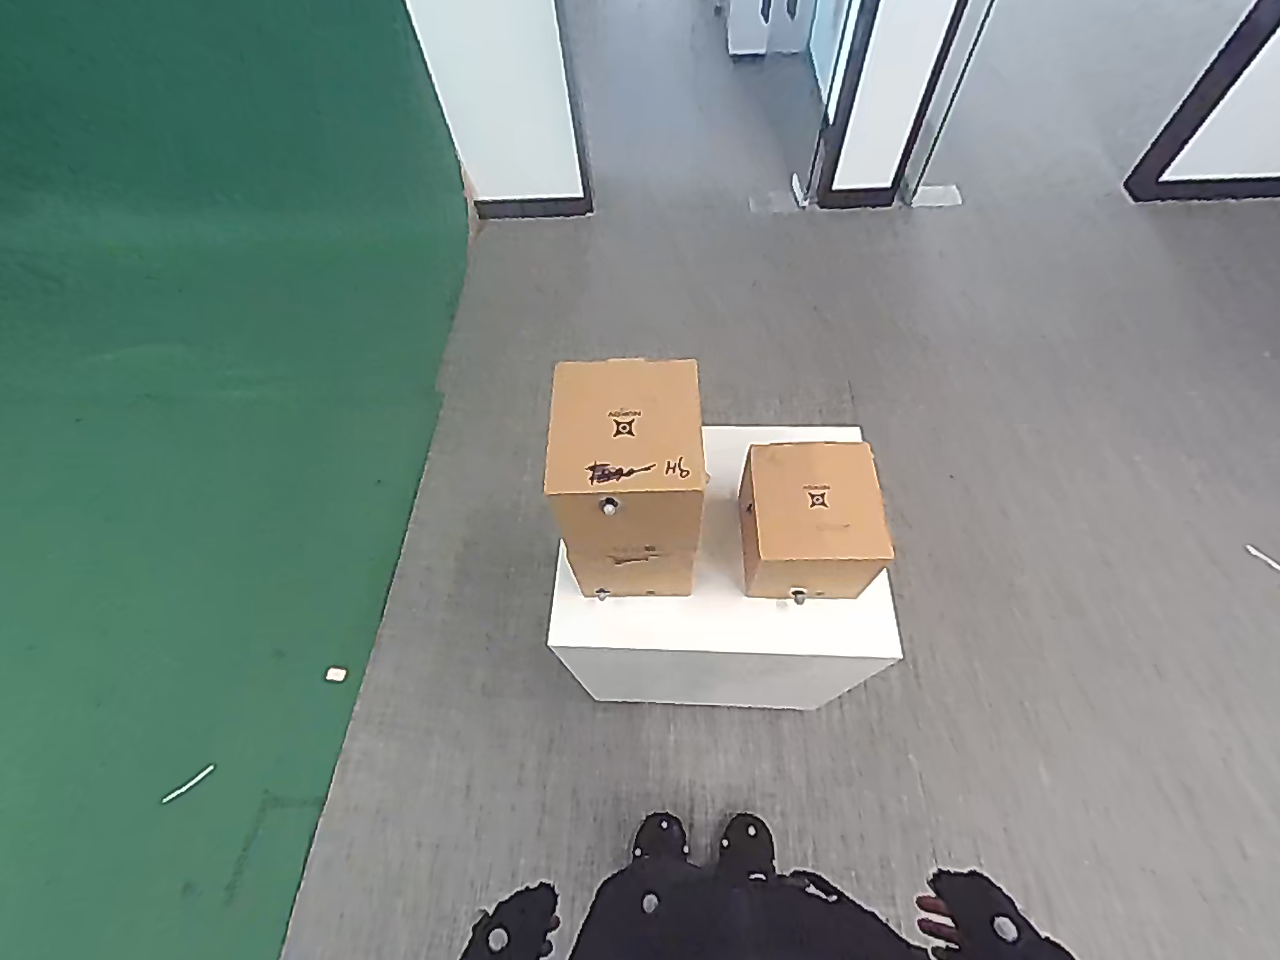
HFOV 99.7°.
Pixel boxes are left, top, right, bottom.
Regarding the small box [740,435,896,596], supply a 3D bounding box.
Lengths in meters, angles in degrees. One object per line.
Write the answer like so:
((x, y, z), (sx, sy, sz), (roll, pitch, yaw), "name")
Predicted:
((0.236, 0.055, 0.768), (0.168, 0.176, 0.179), (-2, 62, 4), "small box")

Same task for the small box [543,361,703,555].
((-0.014, -0.022, 0.657), (0.168, 0.176, 0.179), (-2, 59, 3), "small box")

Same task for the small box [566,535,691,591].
((-0.009, 0.060, 0.798), (0.168, 0.176, 0.179), (-2, 59, 3), "small box")
